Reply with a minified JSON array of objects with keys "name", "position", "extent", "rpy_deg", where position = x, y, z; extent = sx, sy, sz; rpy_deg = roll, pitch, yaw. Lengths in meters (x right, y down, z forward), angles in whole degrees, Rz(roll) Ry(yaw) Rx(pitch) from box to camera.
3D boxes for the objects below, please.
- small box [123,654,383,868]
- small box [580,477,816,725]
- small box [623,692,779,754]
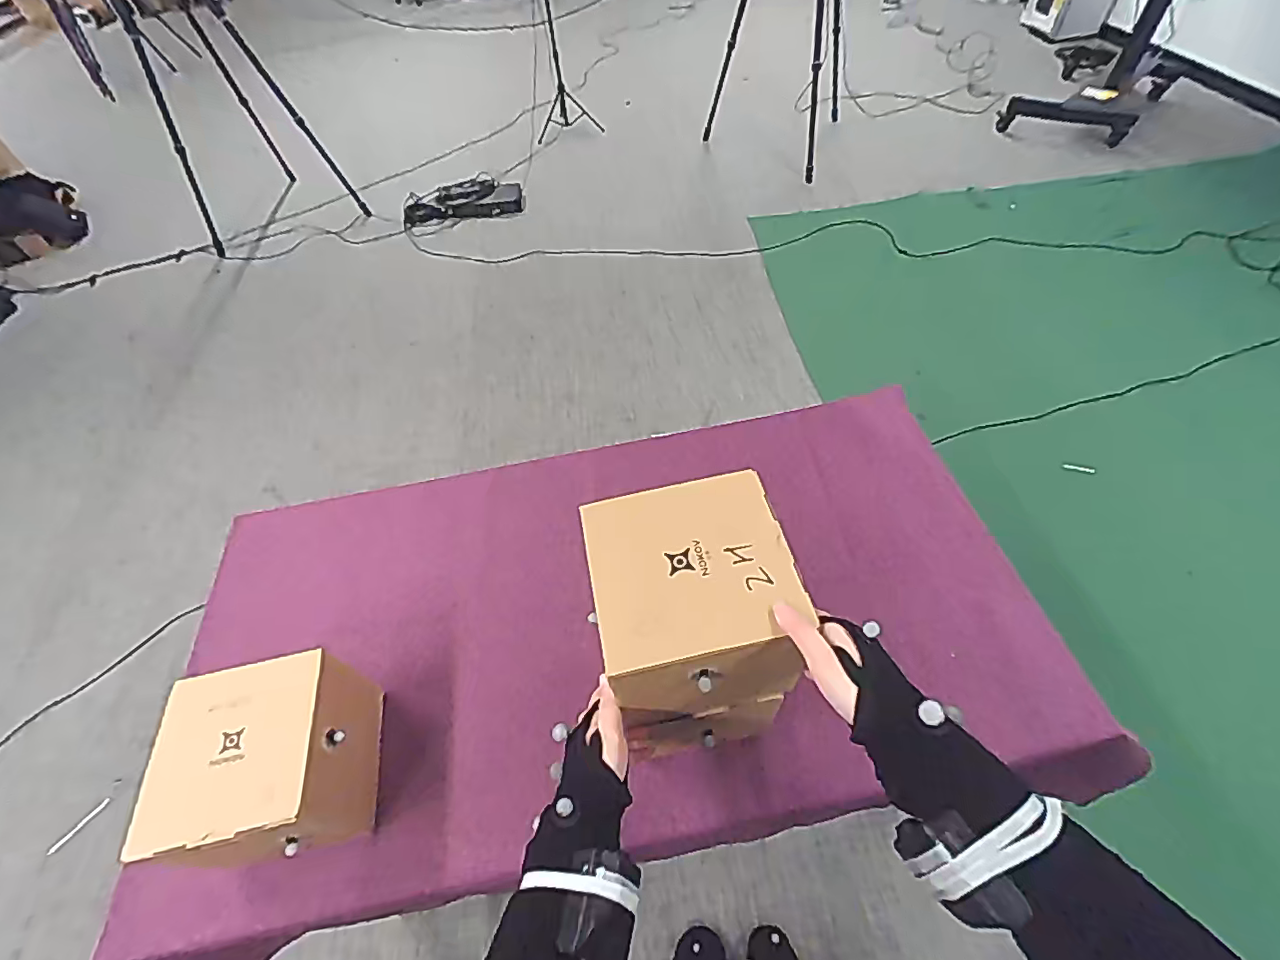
[{"name":"small box","position":[-0.419,0.329,0.627],"extent":[0.168,0.176,0.179],"rpy_deg":[-11,52,-5]},{"name":"small box","position":[0.049,0.125,0.532],"extent":[0.179,0.176,0.168],"rpy_deg":[-11,54,-3]},{"name":"small box","position":[0.058,0.223,0.665],"extent":[0.168,0.176,0.179],"rpy_deg":[-11,53,-3]}]
